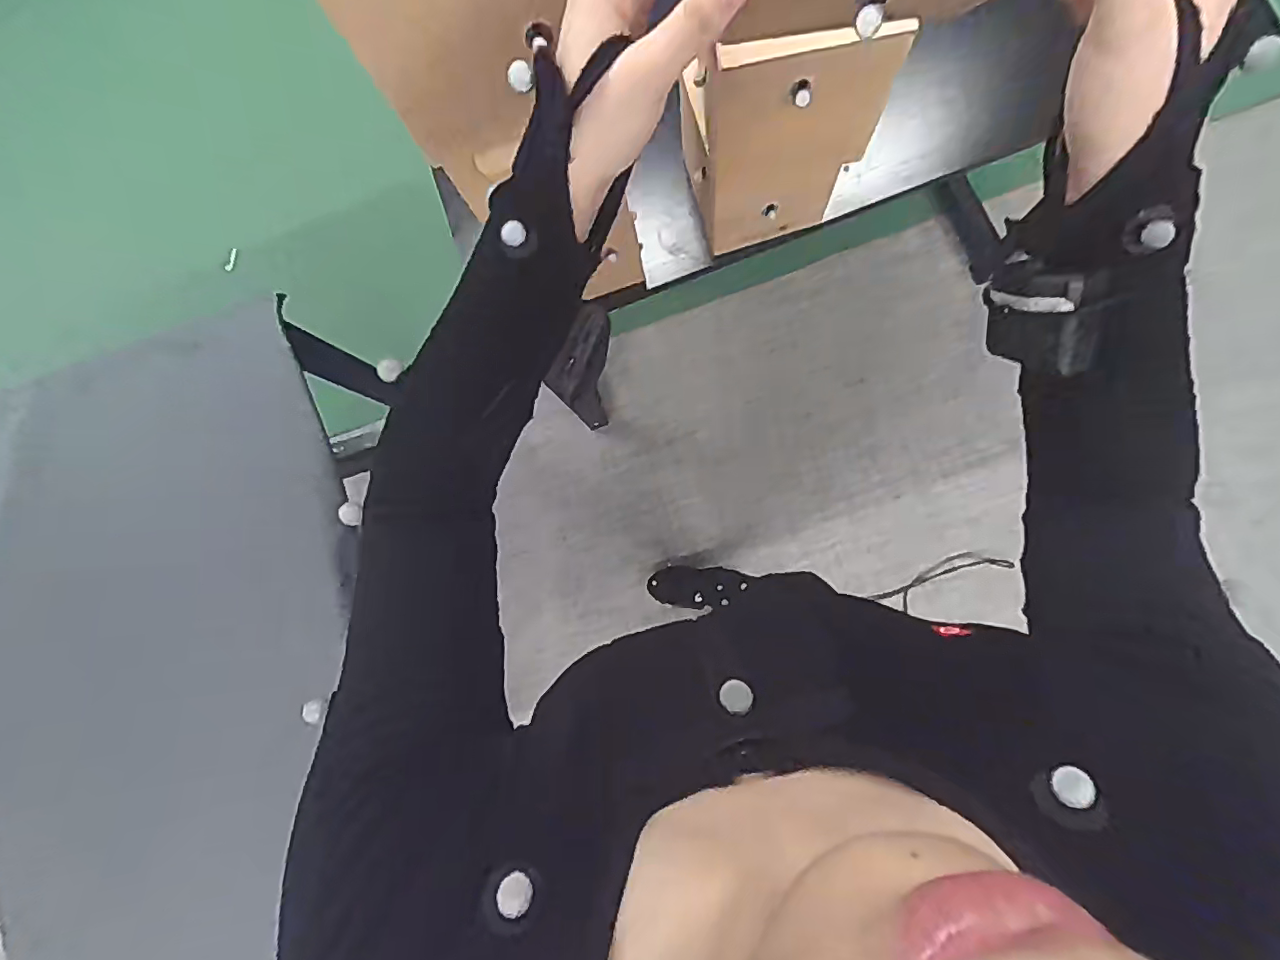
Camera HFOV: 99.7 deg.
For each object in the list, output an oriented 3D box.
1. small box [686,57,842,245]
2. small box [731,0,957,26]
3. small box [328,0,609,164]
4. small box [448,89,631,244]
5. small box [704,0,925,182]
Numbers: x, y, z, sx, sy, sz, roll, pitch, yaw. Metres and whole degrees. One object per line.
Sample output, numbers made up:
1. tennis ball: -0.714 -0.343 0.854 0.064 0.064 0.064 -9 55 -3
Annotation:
1. small box: 0.164 -0.445 0.729 0.168 0.176 0.179 -15 82 4
2. small box: 0.125 -0.345 0.255 0.168 0.176 0.179 -2 119 8
3. small box: -0.129 -0.396 0.427 0.179 0.176 0.168 -16 80 5
4. small box: -0.114 -0.386 0.589 0.168 0.176 0.179 -16 81 4
5. small box: 0.163 -0.448 0.564 0.179 0.176 0.168 -7 84 6
